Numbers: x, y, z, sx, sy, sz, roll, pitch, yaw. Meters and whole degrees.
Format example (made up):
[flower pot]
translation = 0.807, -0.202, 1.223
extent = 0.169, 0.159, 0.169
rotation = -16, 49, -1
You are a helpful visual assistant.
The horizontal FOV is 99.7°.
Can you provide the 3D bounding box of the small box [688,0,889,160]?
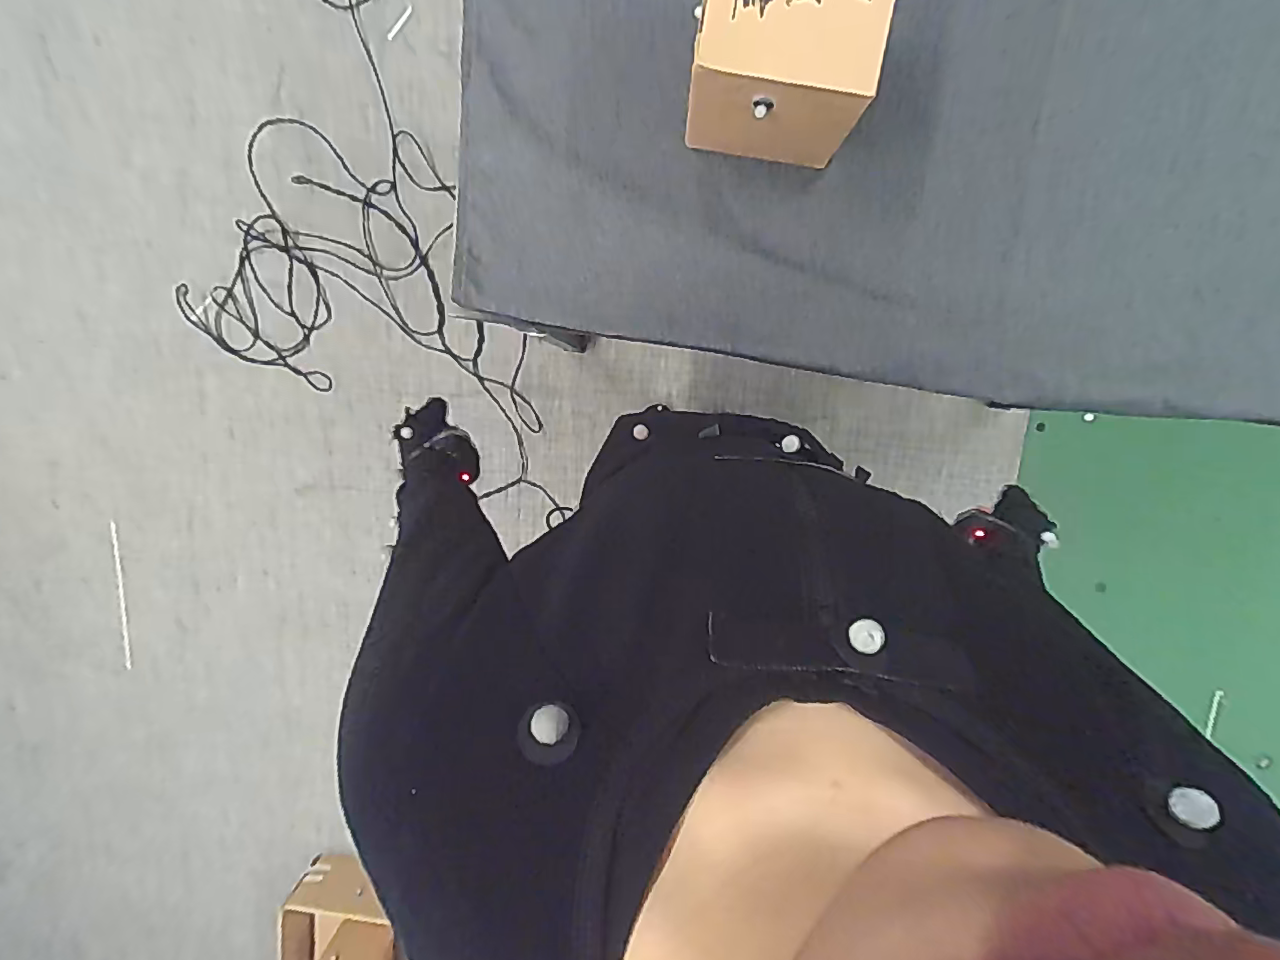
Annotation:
[small box]
translation = 0.151, -0.475, 0.585
extent = 0.179, 0.176, 0.168
rotation = 9, 99, 0
